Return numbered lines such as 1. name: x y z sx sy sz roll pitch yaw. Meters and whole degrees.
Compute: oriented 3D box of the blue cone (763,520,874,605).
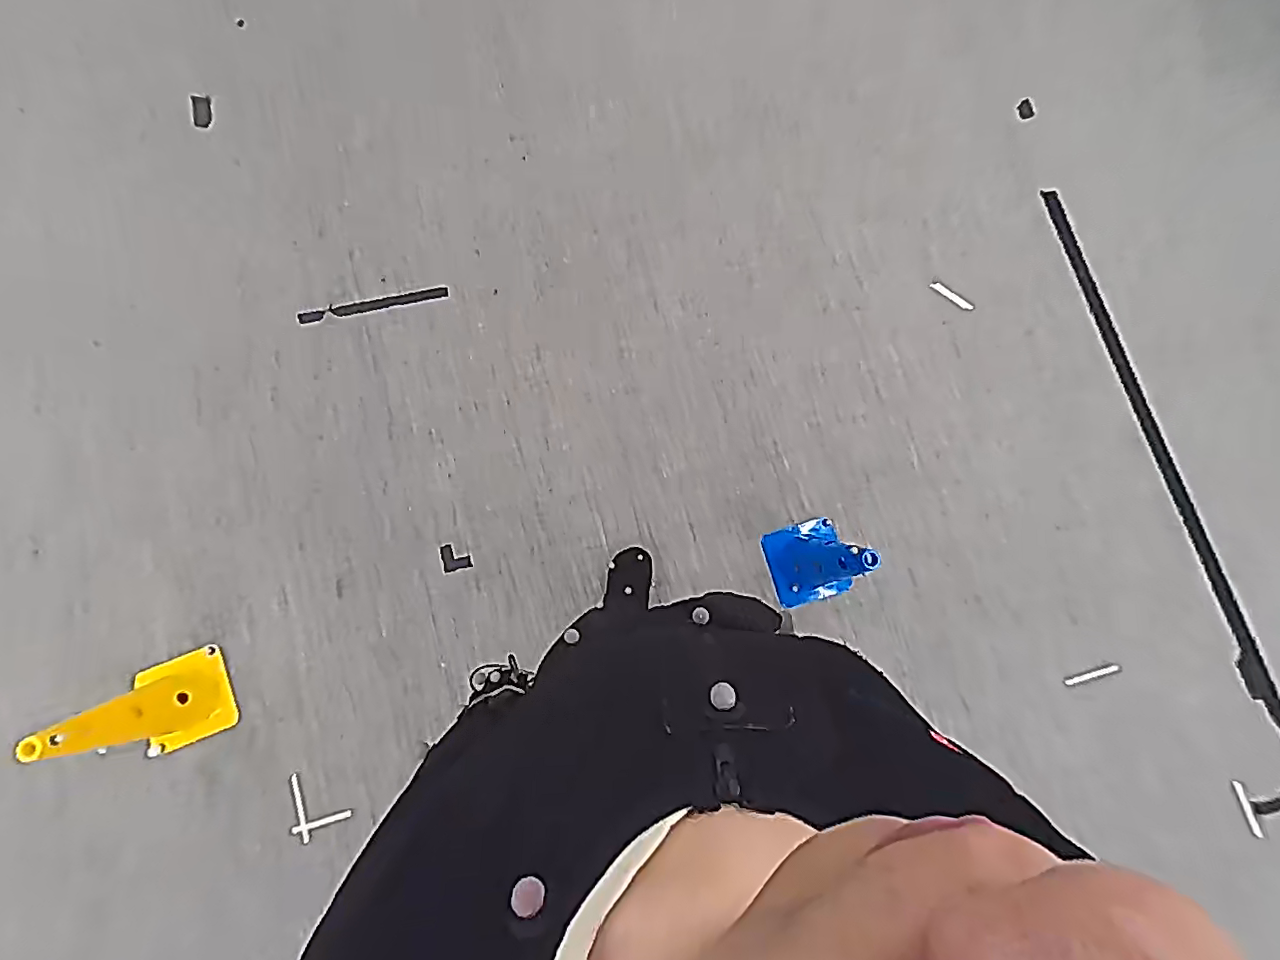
1. blue cone: 0.436 0.186 1.235 0.193 0.380 0.192 -14 81 -5
